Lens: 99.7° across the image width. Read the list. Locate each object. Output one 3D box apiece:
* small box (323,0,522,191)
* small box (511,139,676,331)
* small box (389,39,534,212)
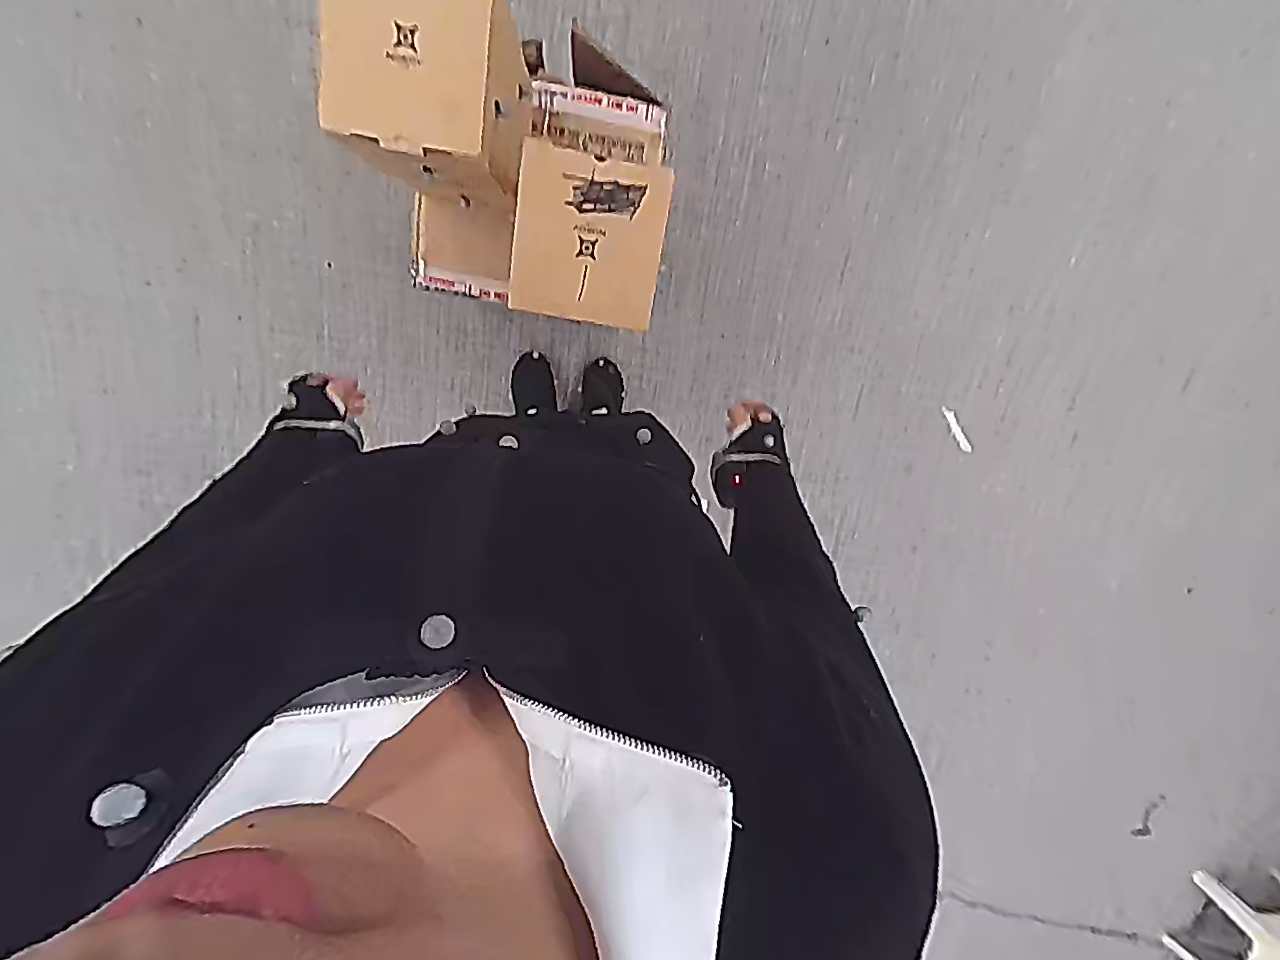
[{"bbox_3d":[-0.235,-0.450,0.618,0.168,0.176,0.179,8,106,-5],"label":"small box"},{"bbox_3d":[-0.060,-0.291,0.679,0.168,0.176,0.179,8,106,-6],"label":"small box"},{"bbox_3d":[-0.248,-0.505,0.773,0.168,0.176,0.179,7,106,-5],"label":"small box"}]
